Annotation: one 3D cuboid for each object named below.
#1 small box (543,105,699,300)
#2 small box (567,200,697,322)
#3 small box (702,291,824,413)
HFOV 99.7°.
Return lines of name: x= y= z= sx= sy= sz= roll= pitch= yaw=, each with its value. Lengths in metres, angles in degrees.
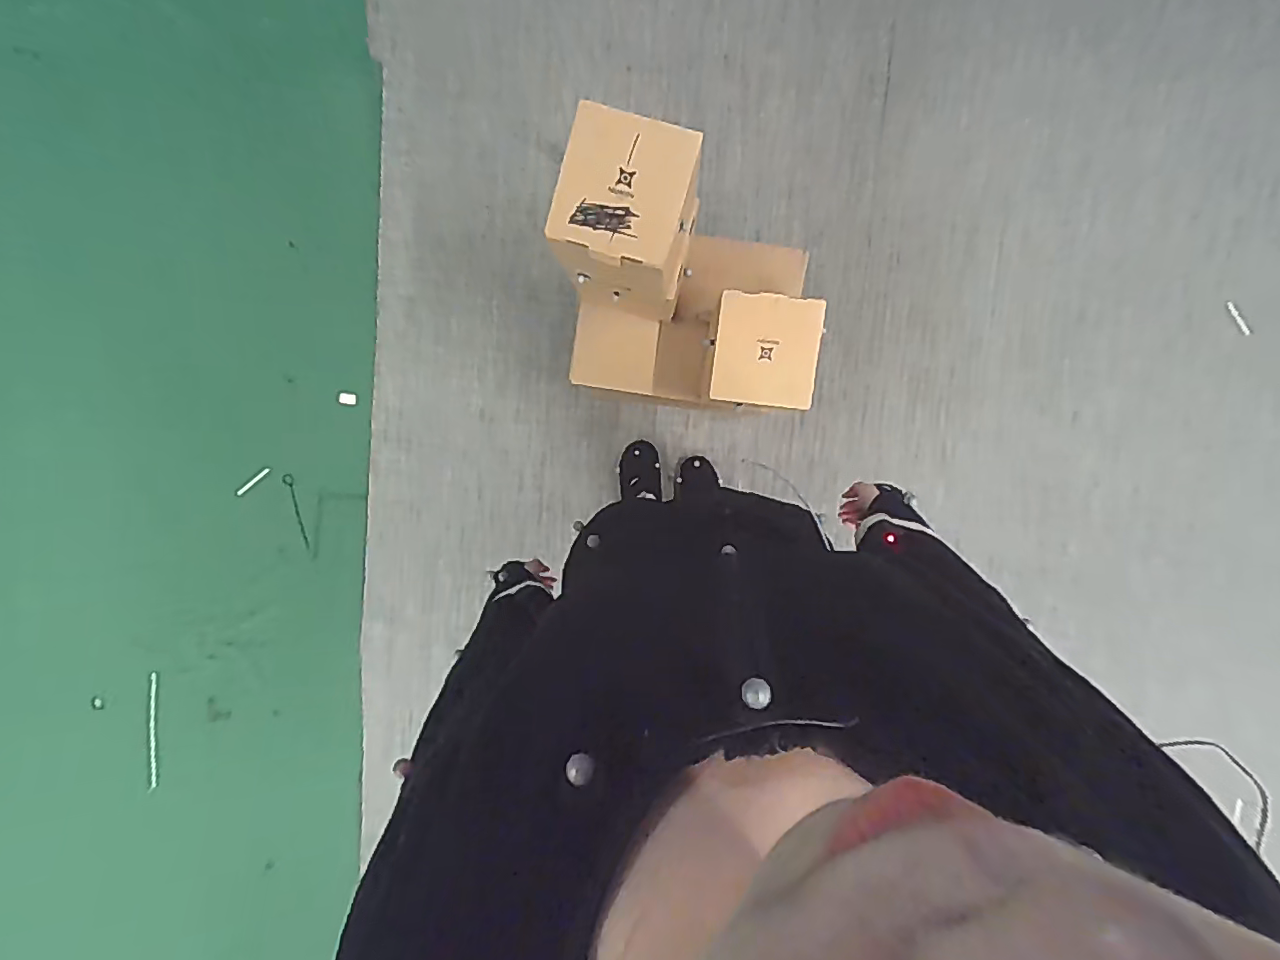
small box: x=-0.021 y=-0.377 z=0.771 sx=0.168 sy=0.176 sz=0.179 roll=17 pitch=93 yaw=1
small box: x=-0.010 y=-0.386 z=0.934 sx=0.179 sy=0.176 sz=0.168 roll=15 pitch=95 yaw=0
small box: x=0.202 y=-0.211 z=0.937 sx=0.168 sy=0.176 sz=0.179 roll=7 pitch=95 yaw=1
